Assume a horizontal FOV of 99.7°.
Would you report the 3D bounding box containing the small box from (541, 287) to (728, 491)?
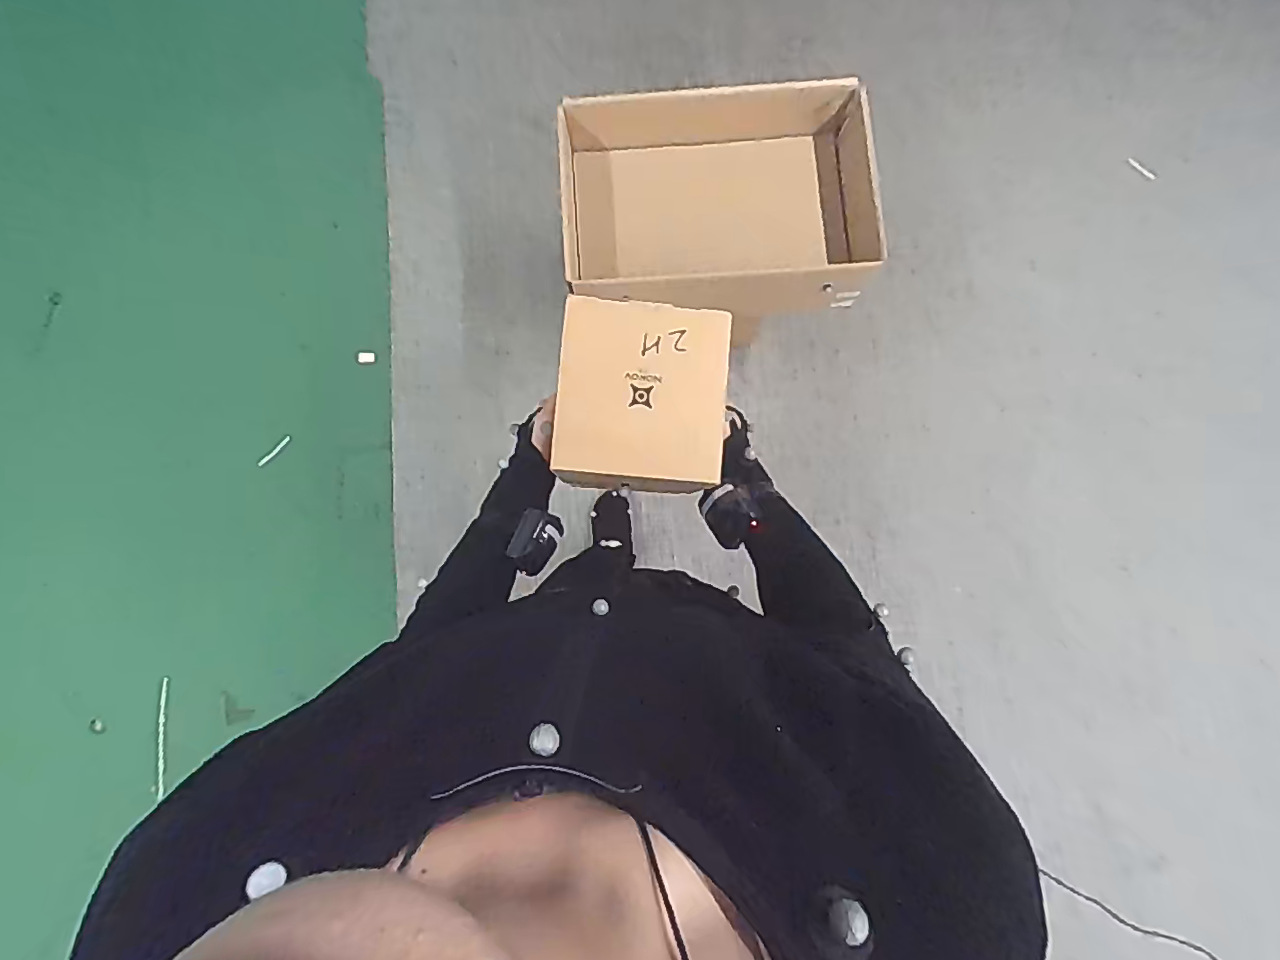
[{"bbox_3d":[-0.008,-0.084,0.592,0.168,0.176,0.179,6,84,-3],"label":"small box"}]
